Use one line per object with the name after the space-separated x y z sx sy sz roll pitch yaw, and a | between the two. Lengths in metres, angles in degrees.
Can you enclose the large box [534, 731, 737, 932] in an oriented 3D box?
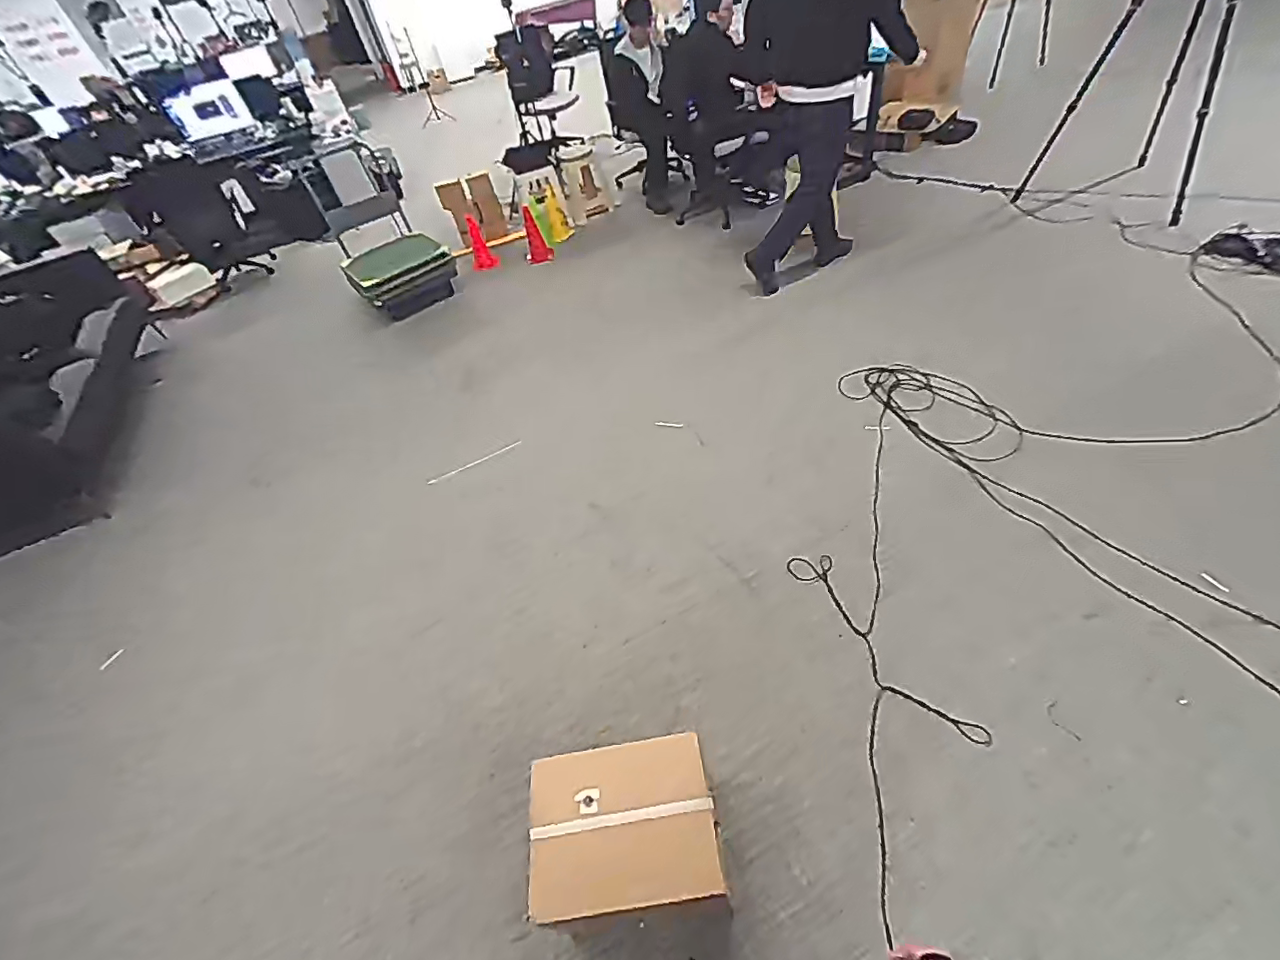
-0.009 0.841 1.286 0.408 0.320 0.320 -12 45 3 | large box
